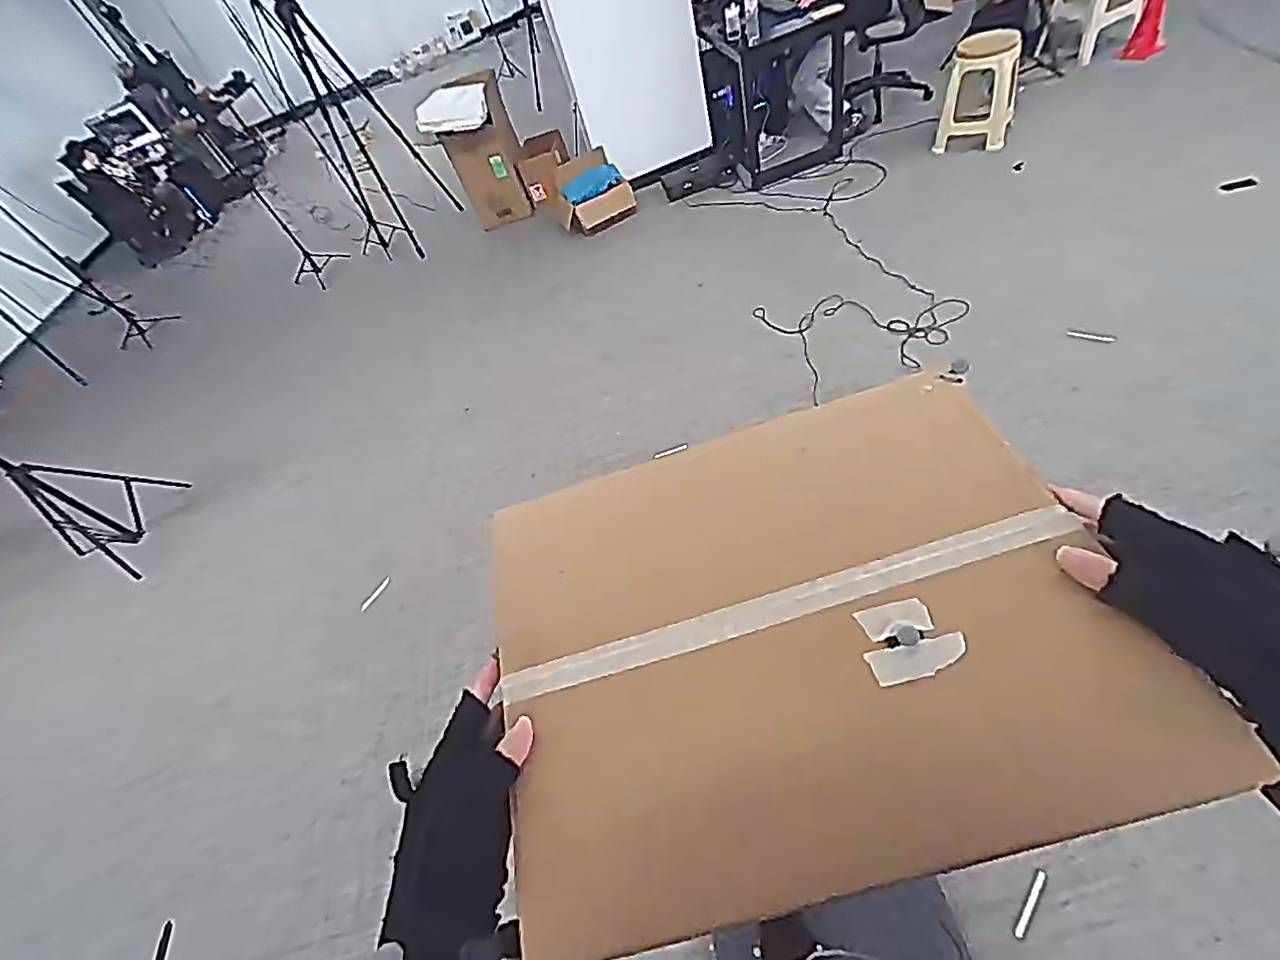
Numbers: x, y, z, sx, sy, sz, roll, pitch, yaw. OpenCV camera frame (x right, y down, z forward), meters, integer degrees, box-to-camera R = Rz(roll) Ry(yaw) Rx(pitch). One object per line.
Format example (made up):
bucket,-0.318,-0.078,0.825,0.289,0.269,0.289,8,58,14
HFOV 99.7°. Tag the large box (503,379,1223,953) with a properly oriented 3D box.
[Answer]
large box,0.129,0.174,0.508,0.408,0.320,0.320,-18,55,3
